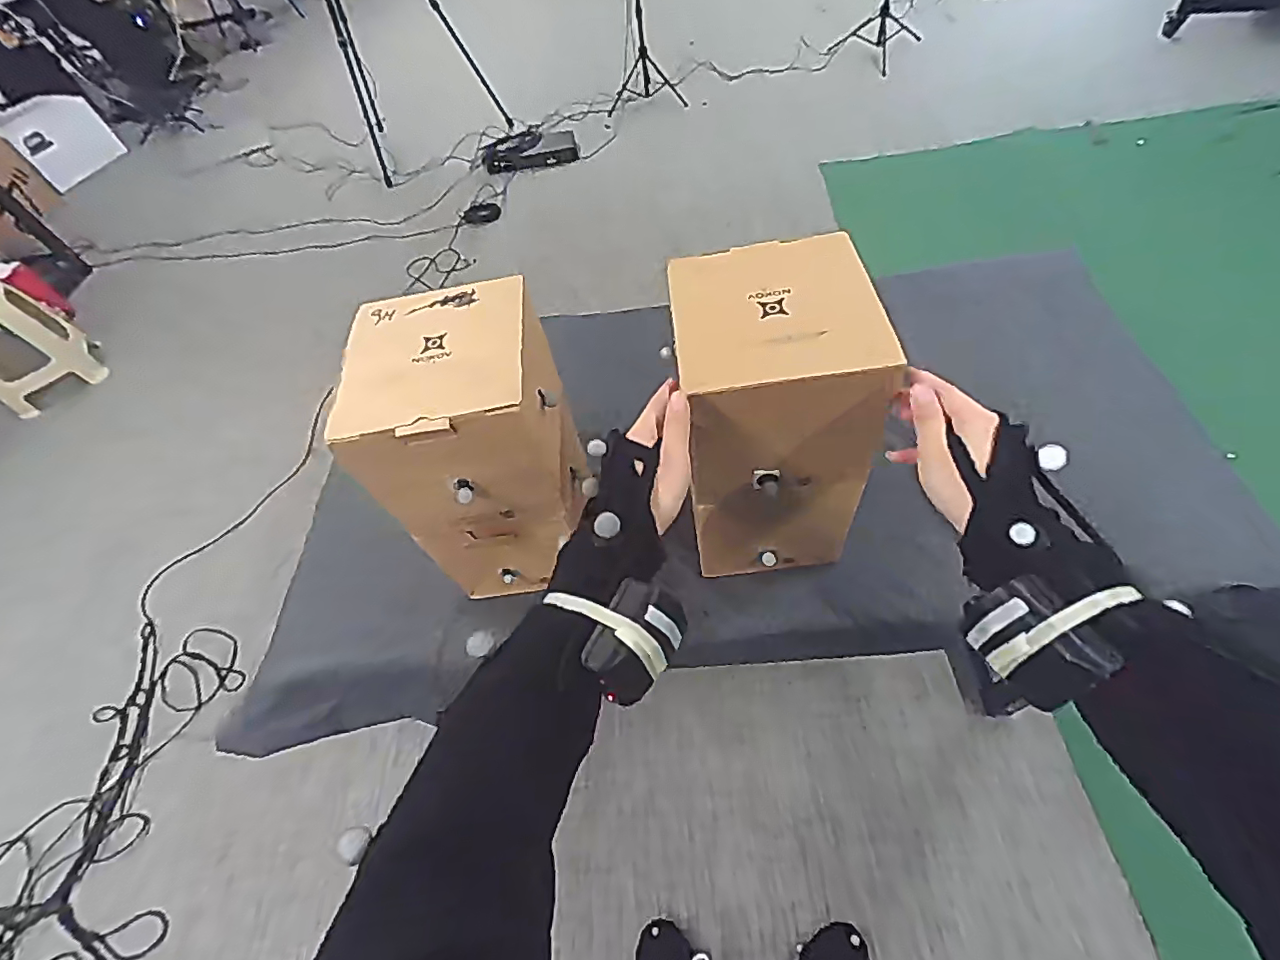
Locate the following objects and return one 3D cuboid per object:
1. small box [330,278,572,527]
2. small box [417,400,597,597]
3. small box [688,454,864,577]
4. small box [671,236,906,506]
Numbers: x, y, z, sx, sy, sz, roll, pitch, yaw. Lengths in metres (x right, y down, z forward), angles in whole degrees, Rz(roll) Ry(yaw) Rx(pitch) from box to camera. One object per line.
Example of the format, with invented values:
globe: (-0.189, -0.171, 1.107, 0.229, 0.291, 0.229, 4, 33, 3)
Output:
small box: (-0.168, -0.066, 0.541, 0.168, 0.176, 0.179, -10, 55, 3)
small box: (-0.151, 0.025, 0.677, 0.168, 0.176, 0.179, -9, 55, 3)
small box: (0.145, -0.005, 0.646, 0.168, 0.176, 0.179, -8, 54, 5)
small box: (0.122, -0.097, 0.512, 0.168, 0.176, 0.179, -7, 54, 6)
